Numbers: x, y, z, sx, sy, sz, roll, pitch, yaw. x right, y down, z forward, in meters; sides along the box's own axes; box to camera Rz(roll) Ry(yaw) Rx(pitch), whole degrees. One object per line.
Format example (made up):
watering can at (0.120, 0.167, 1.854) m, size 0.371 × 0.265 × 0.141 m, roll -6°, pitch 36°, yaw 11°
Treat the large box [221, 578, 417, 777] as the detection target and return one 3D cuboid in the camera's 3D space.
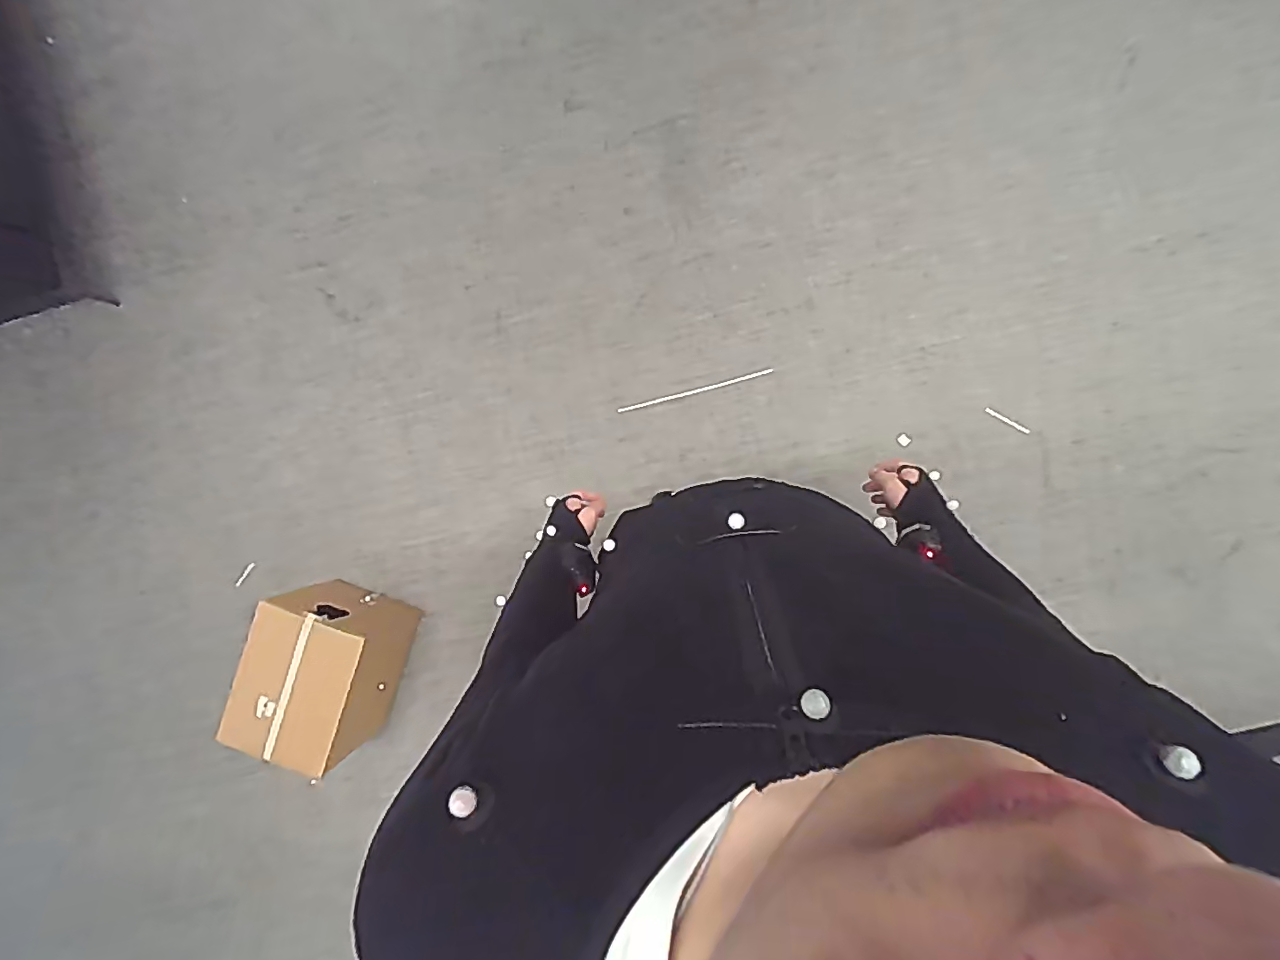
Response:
large box at (-0.905, 0.543, 1.567) m, size 0.320 × 0.320 × 0.408 m, roll 18°, pitch 93°, yaw 5°
